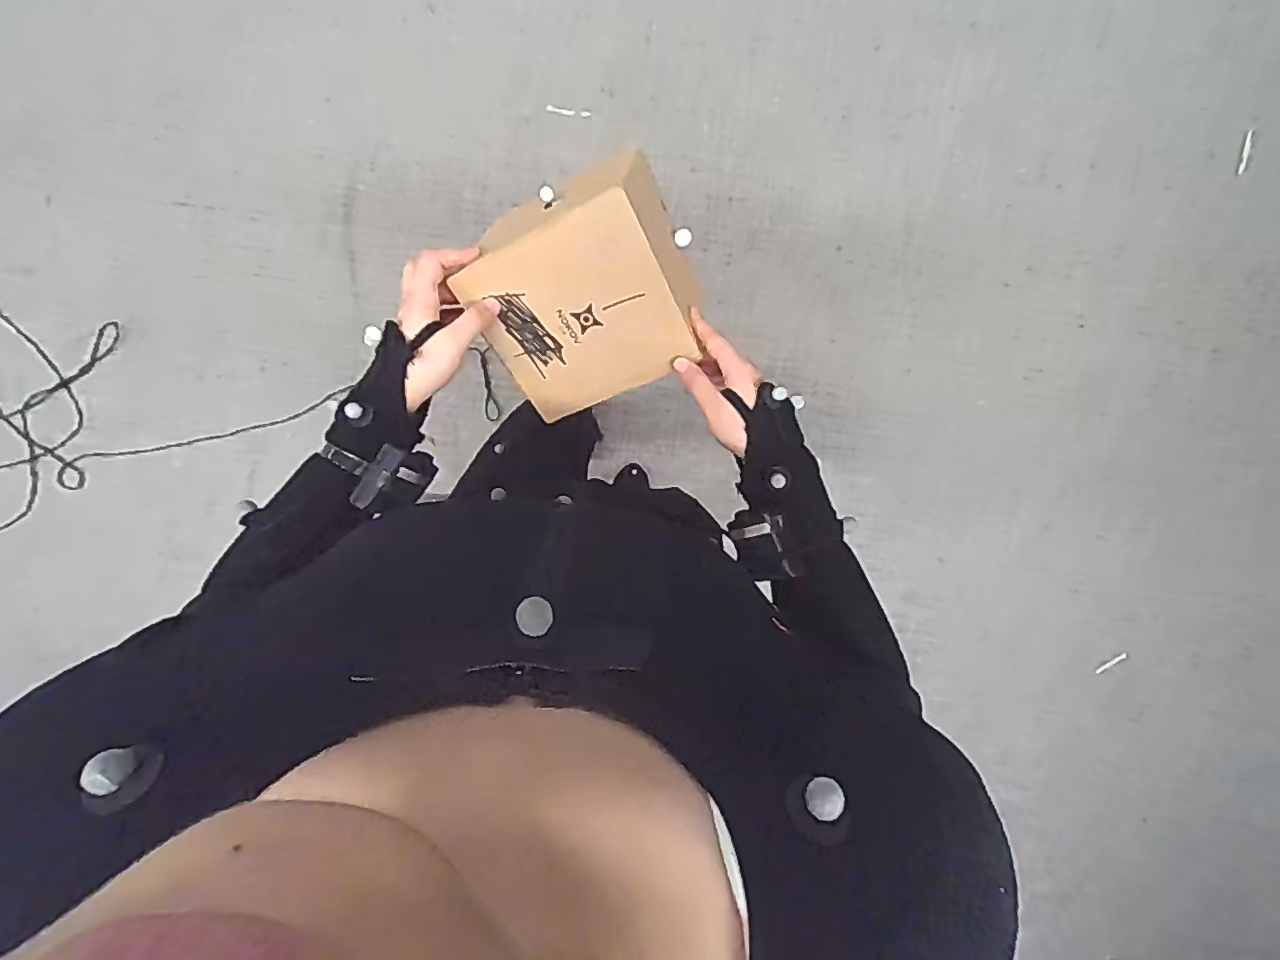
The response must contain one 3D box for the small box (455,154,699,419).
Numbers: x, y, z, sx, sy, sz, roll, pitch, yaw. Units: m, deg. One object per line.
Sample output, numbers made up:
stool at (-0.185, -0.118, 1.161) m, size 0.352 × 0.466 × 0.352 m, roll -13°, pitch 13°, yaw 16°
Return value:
small box at (-0.048, -0.196, 0.553) m, size 0.179 × 0.176 × 0.168 m, roll -19°, pitch 128°, yaw 20°
